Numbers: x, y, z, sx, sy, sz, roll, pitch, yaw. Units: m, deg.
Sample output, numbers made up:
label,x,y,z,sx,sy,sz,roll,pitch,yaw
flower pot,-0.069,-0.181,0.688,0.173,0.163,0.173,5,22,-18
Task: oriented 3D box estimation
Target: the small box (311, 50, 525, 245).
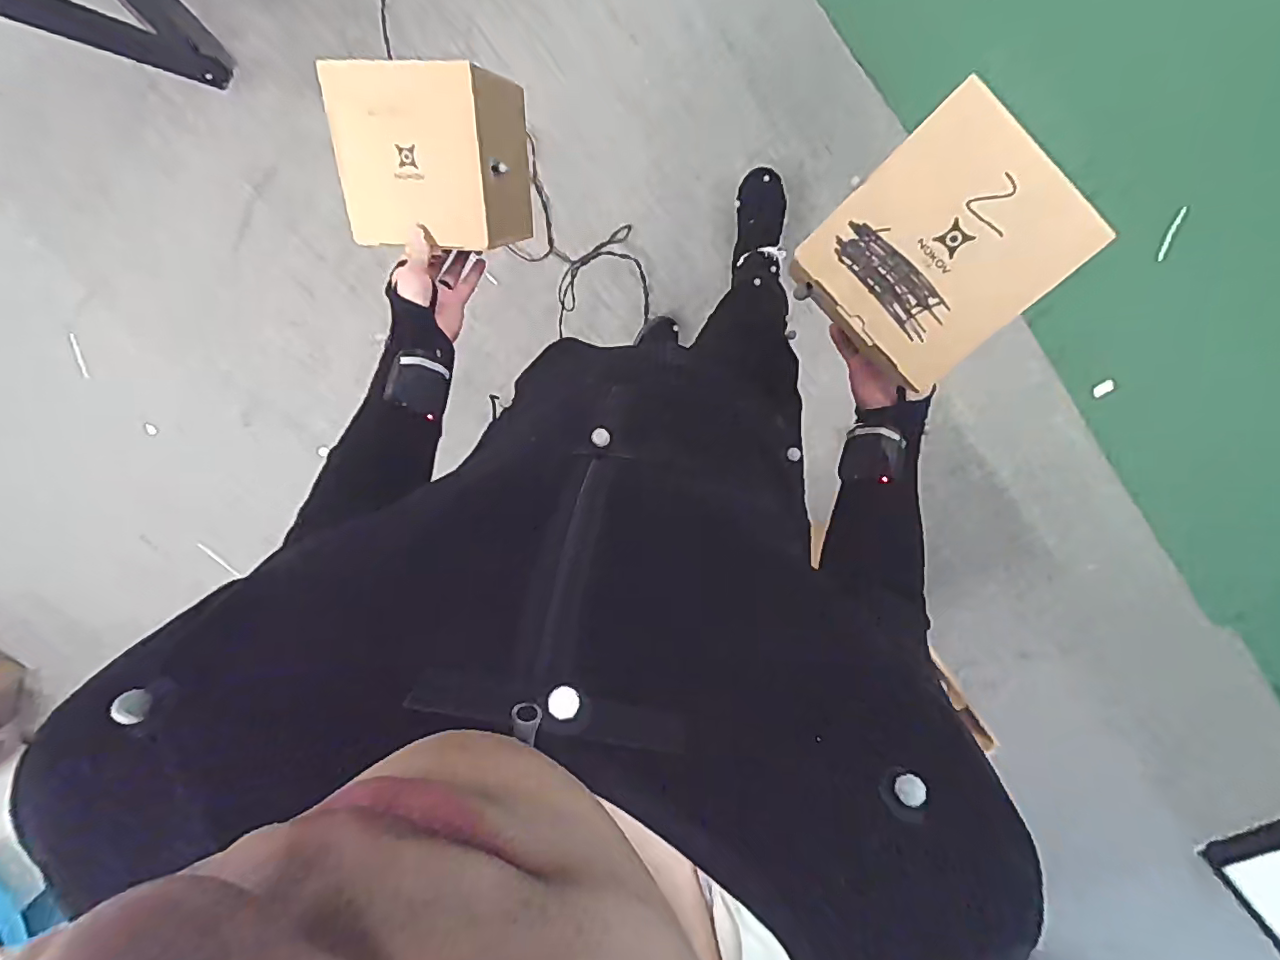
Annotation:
label,x,y,z,sx,sy,sz,roll,pitch,yaw
small box,-0.244,-0.389,0.647,0.168,0.176,0.179,5,120,5
